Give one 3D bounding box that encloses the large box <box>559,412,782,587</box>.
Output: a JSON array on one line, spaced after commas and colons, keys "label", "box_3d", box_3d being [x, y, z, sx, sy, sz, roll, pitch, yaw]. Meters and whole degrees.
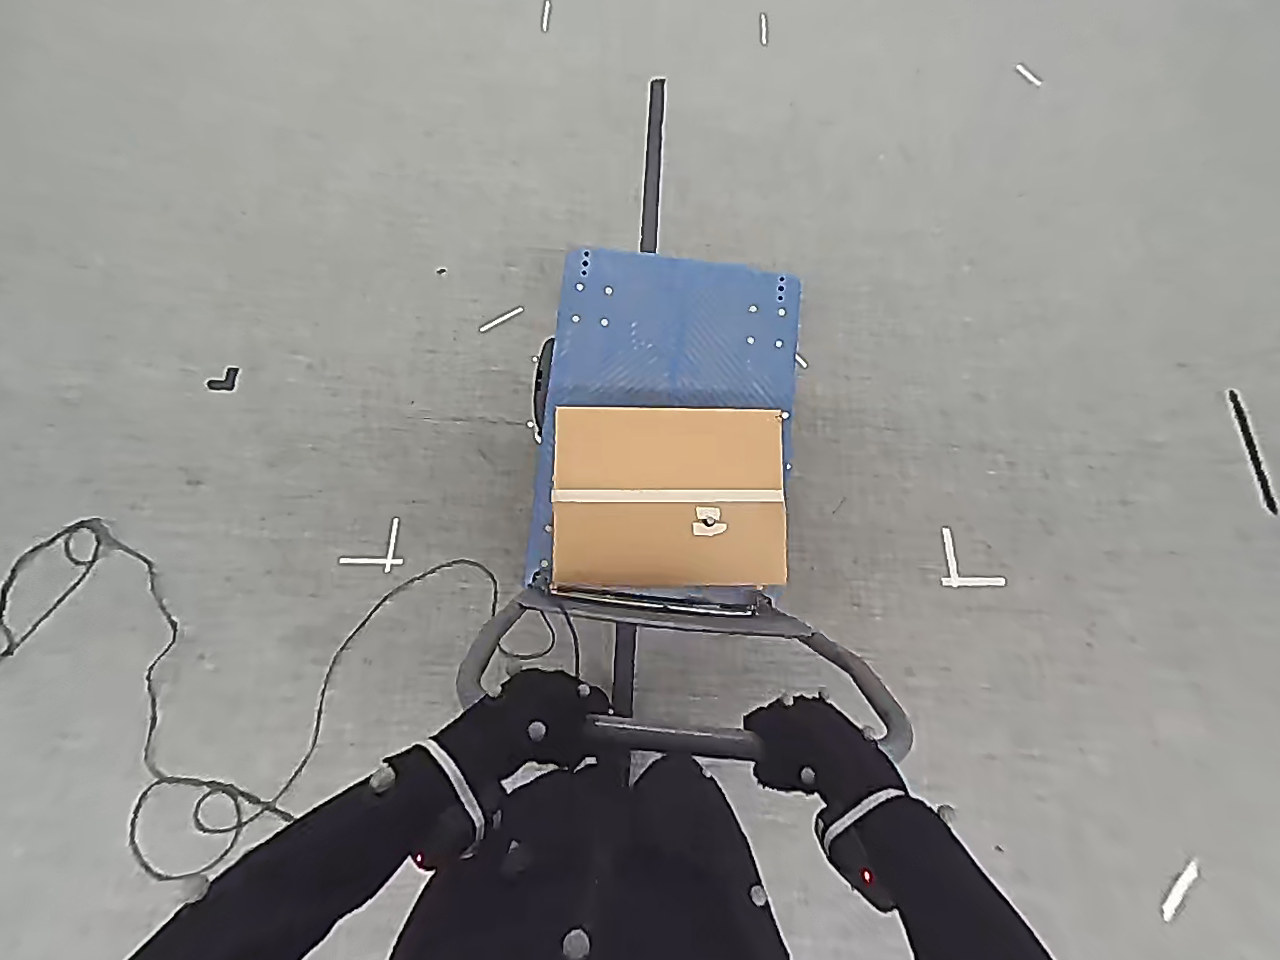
[{"label": "large box", "box_3d": [0.043, 0.050, 1.114, 0.408, 0.320, 0.320, 1, 84, -4]}]
